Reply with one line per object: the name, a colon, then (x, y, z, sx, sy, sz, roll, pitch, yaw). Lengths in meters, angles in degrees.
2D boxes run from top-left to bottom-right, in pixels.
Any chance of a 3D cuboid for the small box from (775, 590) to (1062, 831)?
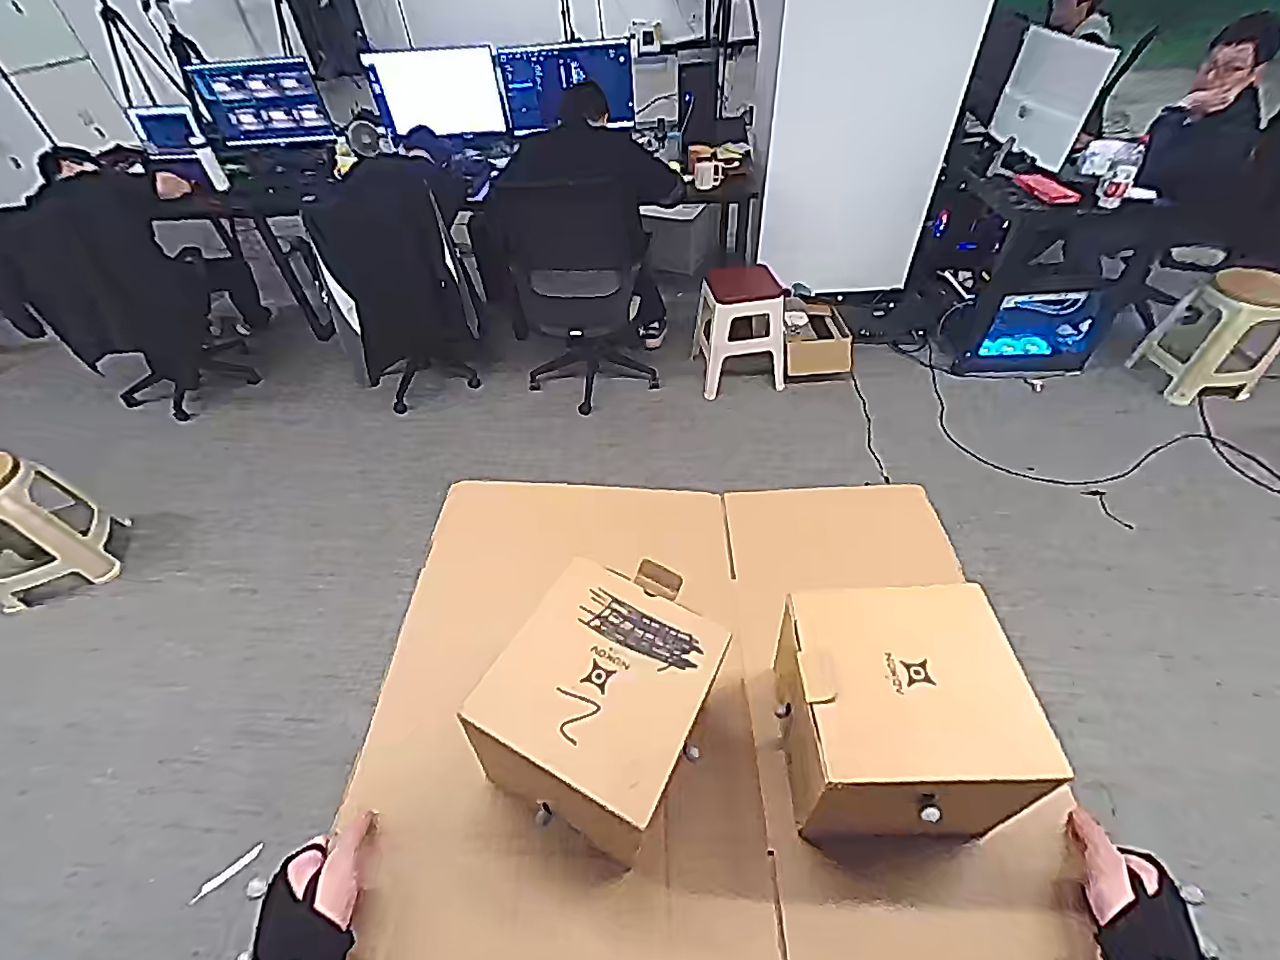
small box: (0.235, 0.222, 0.516, 0.179, 0.176, 0.168, -4, 46, 4)
